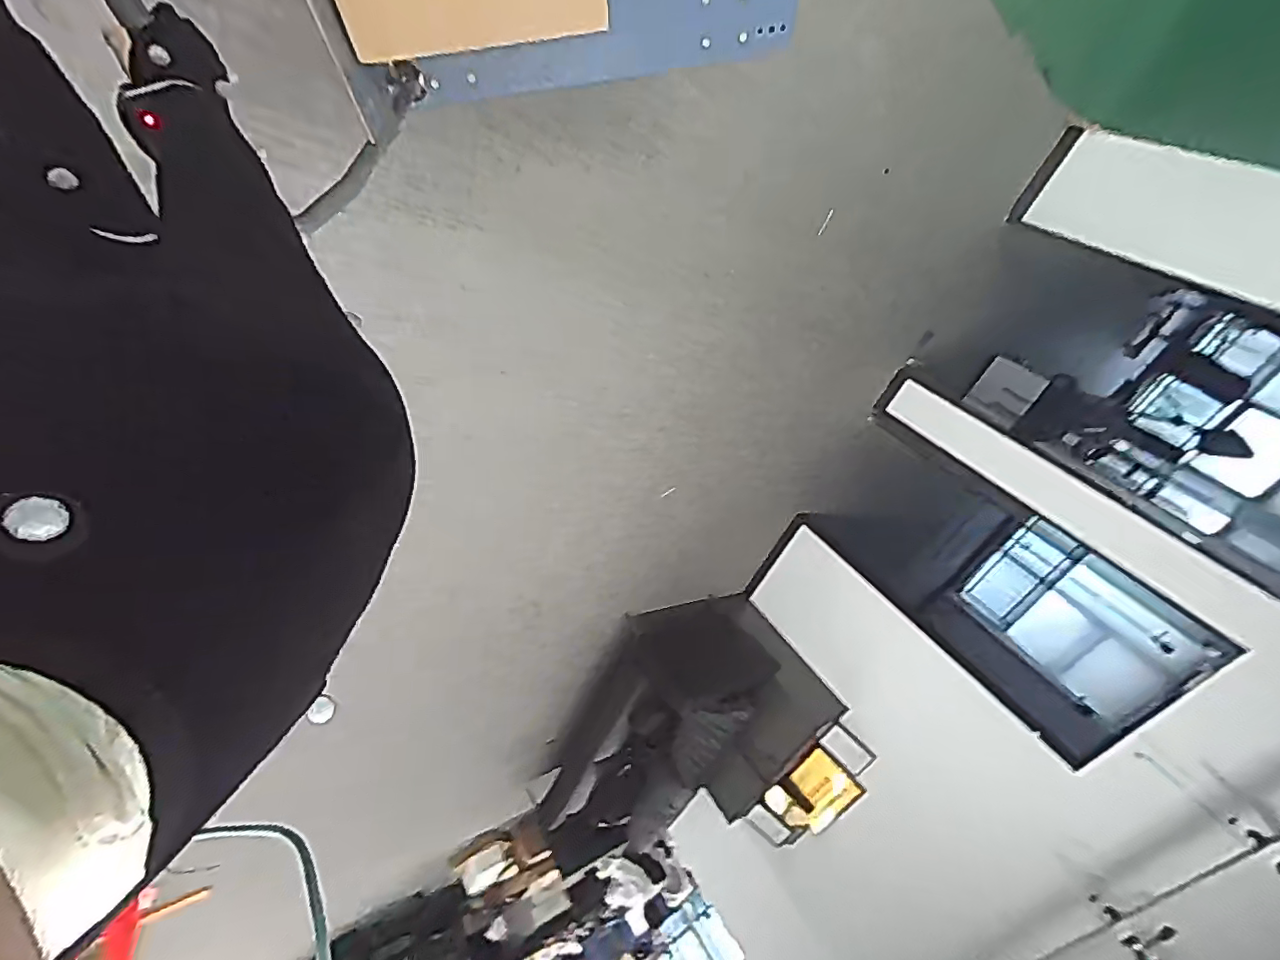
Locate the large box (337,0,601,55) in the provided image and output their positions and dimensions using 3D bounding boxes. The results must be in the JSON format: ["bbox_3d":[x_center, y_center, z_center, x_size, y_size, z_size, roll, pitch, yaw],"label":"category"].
[{"bbox_3d":[-0.294,-0.920,0.848,0.408,0.320,0.320,-10,140,-2],"label":"large box"}]
